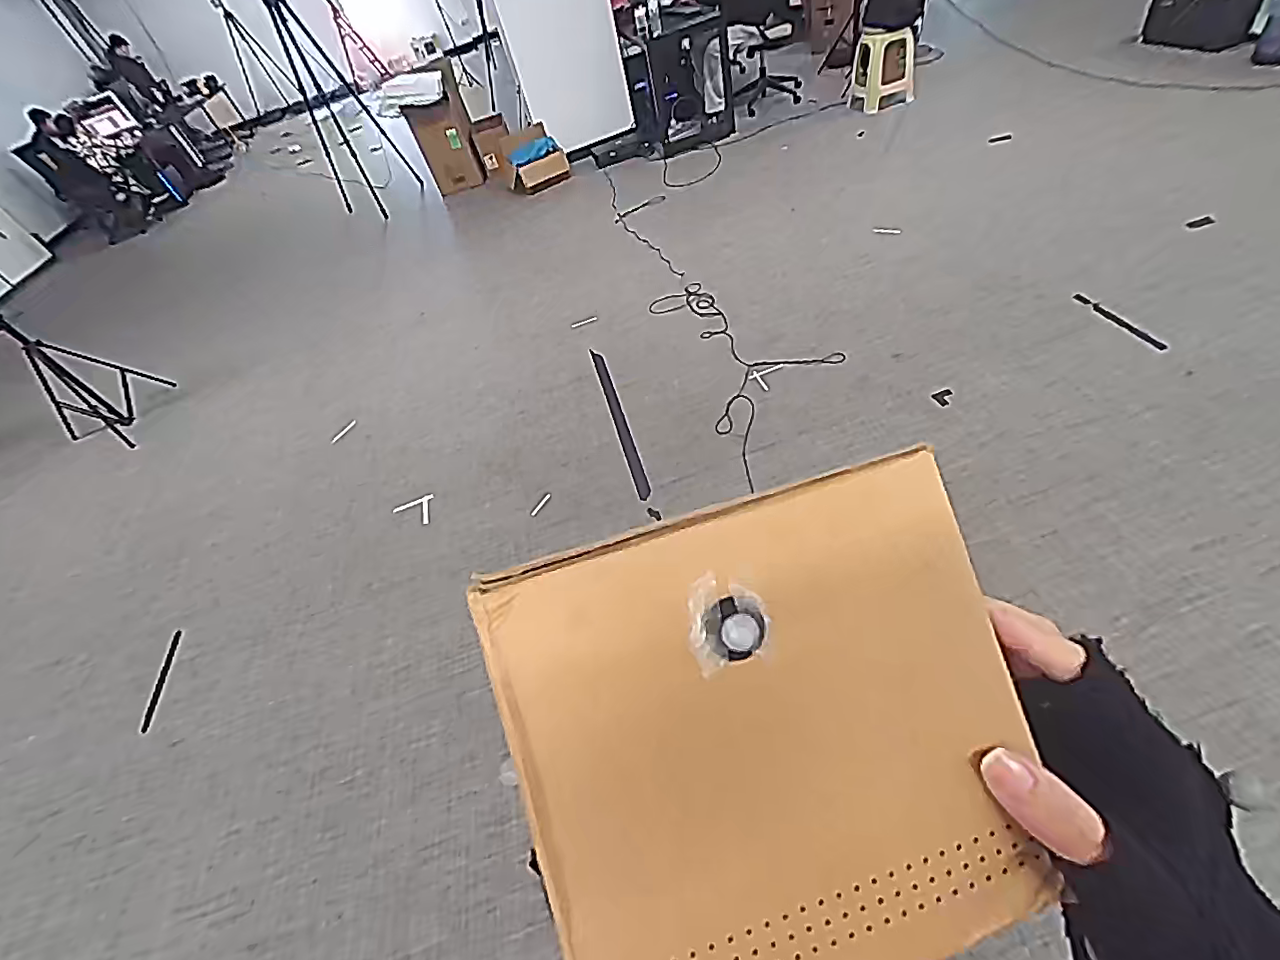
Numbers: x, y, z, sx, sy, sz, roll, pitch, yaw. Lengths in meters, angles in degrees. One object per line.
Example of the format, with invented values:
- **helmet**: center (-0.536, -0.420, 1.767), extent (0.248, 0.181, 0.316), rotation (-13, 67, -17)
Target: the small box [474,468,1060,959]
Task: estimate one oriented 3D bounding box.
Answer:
- **small box**: center (0.044, 0.107, 0.261), extent (0.179, 0.168, 0.176), rotation (-16, 85, -6)
